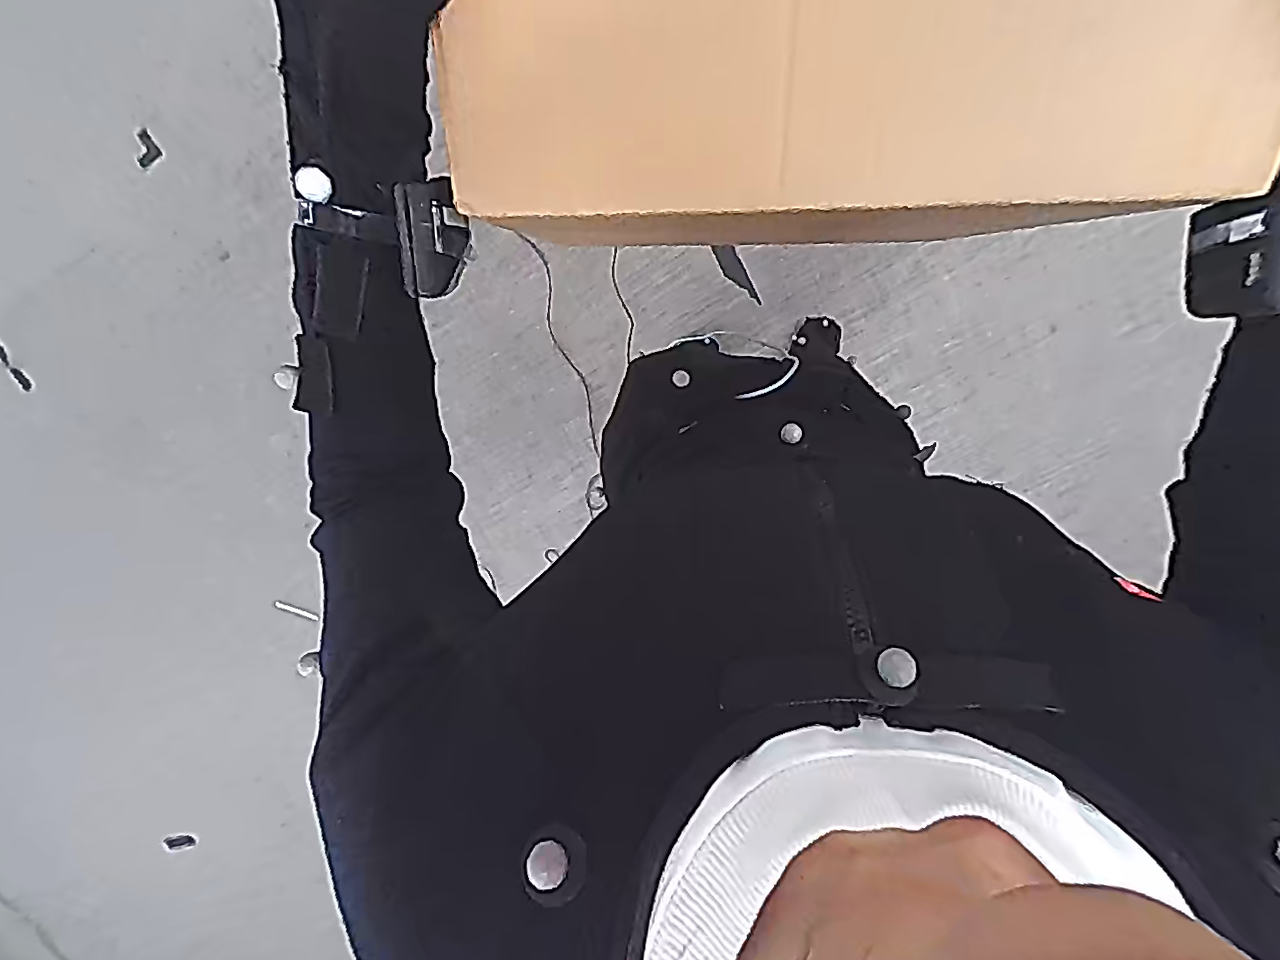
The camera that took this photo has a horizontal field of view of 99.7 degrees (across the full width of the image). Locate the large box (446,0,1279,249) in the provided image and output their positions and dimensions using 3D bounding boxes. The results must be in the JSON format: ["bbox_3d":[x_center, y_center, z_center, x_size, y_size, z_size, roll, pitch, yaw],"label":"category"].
[{"bbox_3d":[0.101,-0.346,0.373,0.408,0.320,0.320,-2,111,2],"label":"large box"}]
